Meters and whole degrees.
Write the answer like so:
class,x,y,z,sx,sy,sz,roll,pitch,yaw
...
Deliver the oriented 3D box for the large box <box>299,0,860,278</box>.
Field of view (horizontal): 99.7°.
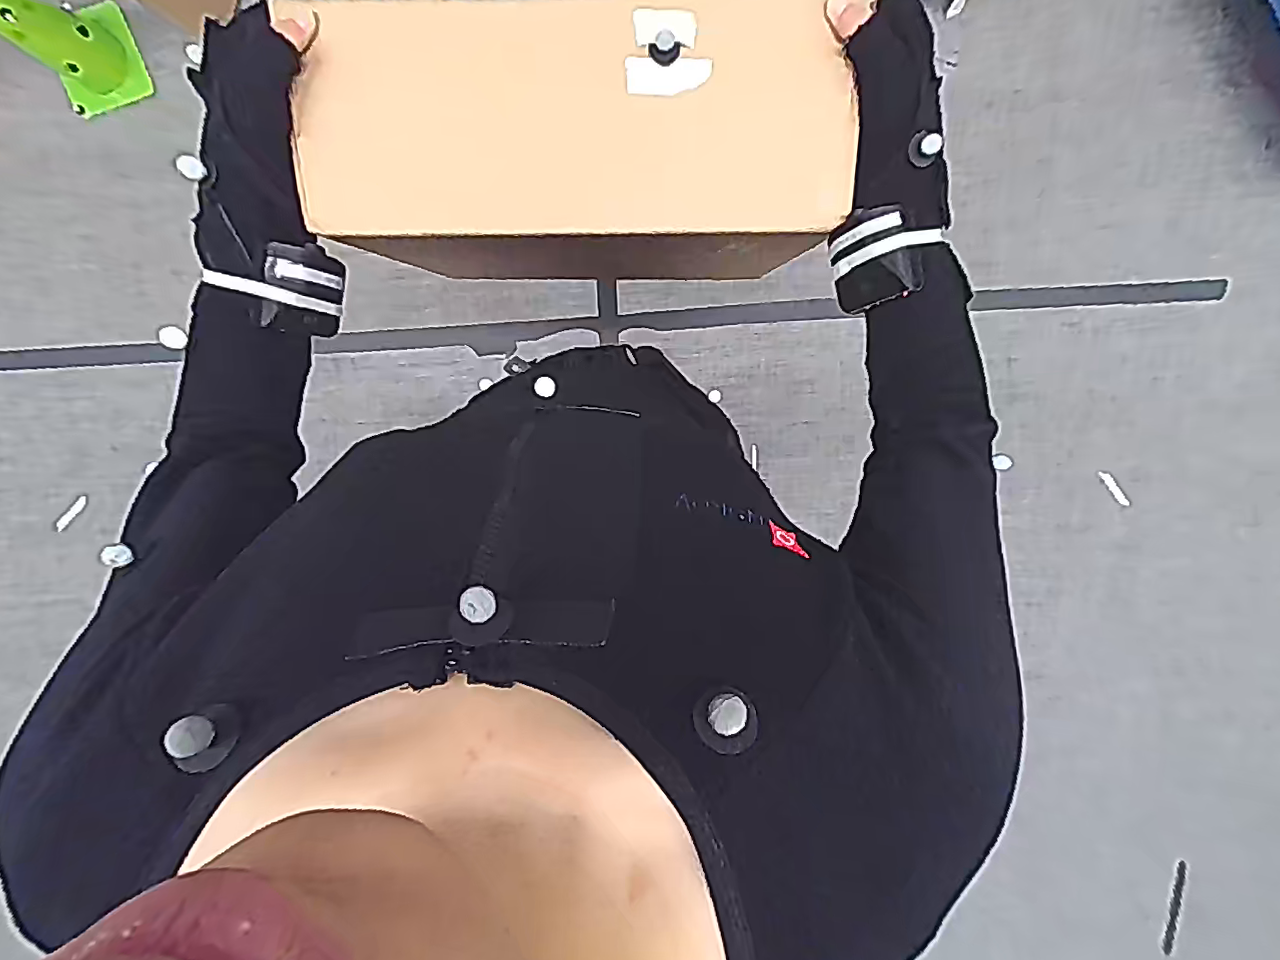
class,x,y,z,sx,sy,sz,roll,pitch,yaw
large box,-0.044,-0.382,0.523,0.408,0.320,0.320,0,105,0
